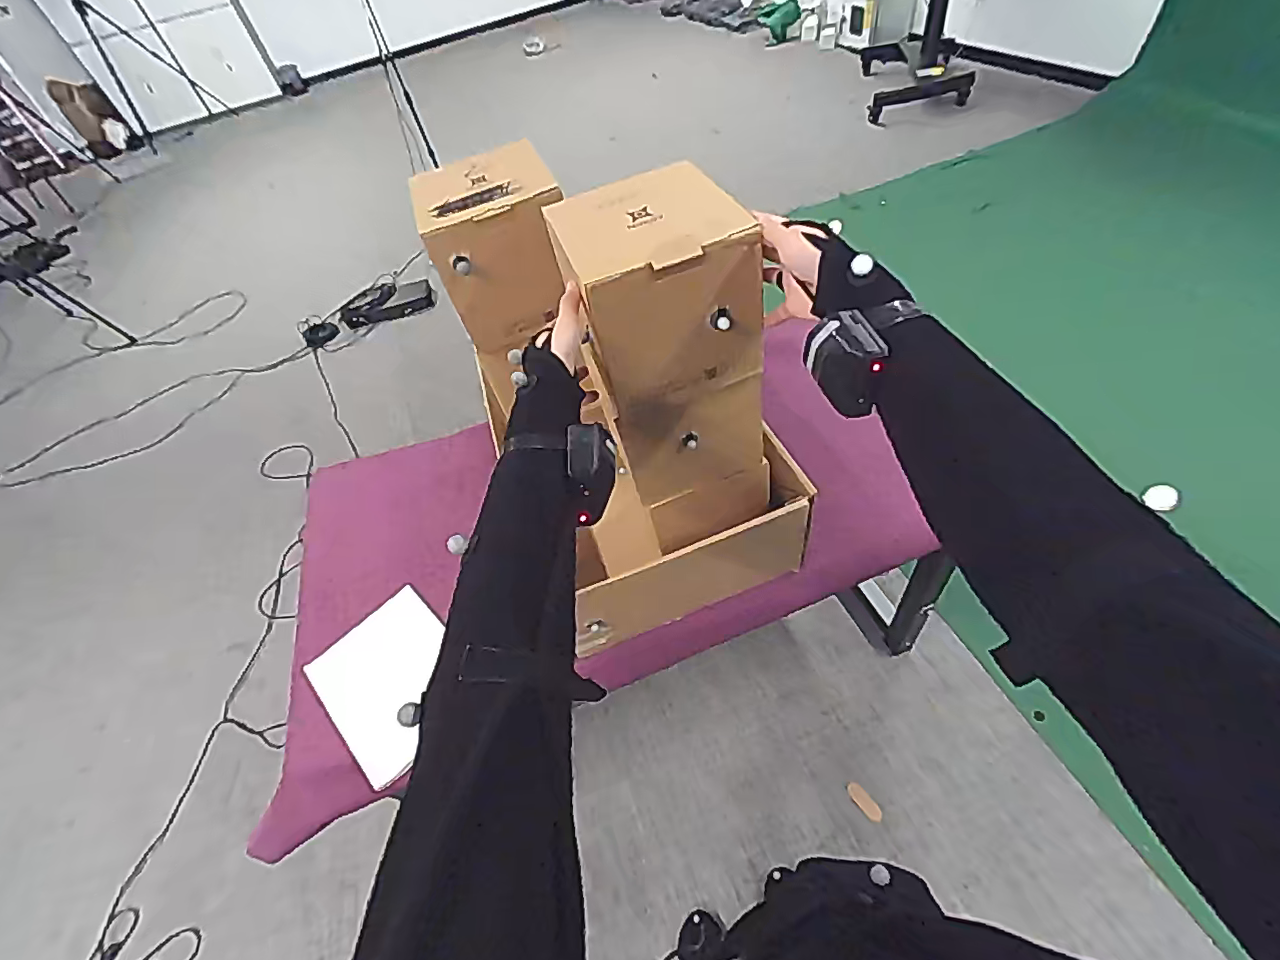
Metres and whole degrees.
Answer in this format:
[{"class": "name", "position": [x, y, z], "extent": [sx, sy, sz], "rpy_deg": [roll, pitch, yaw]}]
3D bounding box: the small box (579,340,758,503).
[{"class": "small box", "position": [0.041, -0.101, 0.702], "extent": [0.179, 0.176, 0.168], "rpy_deg": [-21, 49, -2]}]

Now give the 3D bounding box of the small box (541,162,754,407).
[{"class": "small box", "position": [0.013, -0.198, 0.572], "extent": [0.168, 0.176, 0.179], "rpy_deg": [-20, 49, -5]}]

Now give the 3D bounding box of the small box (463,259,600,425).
[{"class": "small box", "position": [-0.157, -0.207, 0.845], "extent": [0.168, 0.176, 0.179], "rpy_deg": [-20, 51, -4]}]
